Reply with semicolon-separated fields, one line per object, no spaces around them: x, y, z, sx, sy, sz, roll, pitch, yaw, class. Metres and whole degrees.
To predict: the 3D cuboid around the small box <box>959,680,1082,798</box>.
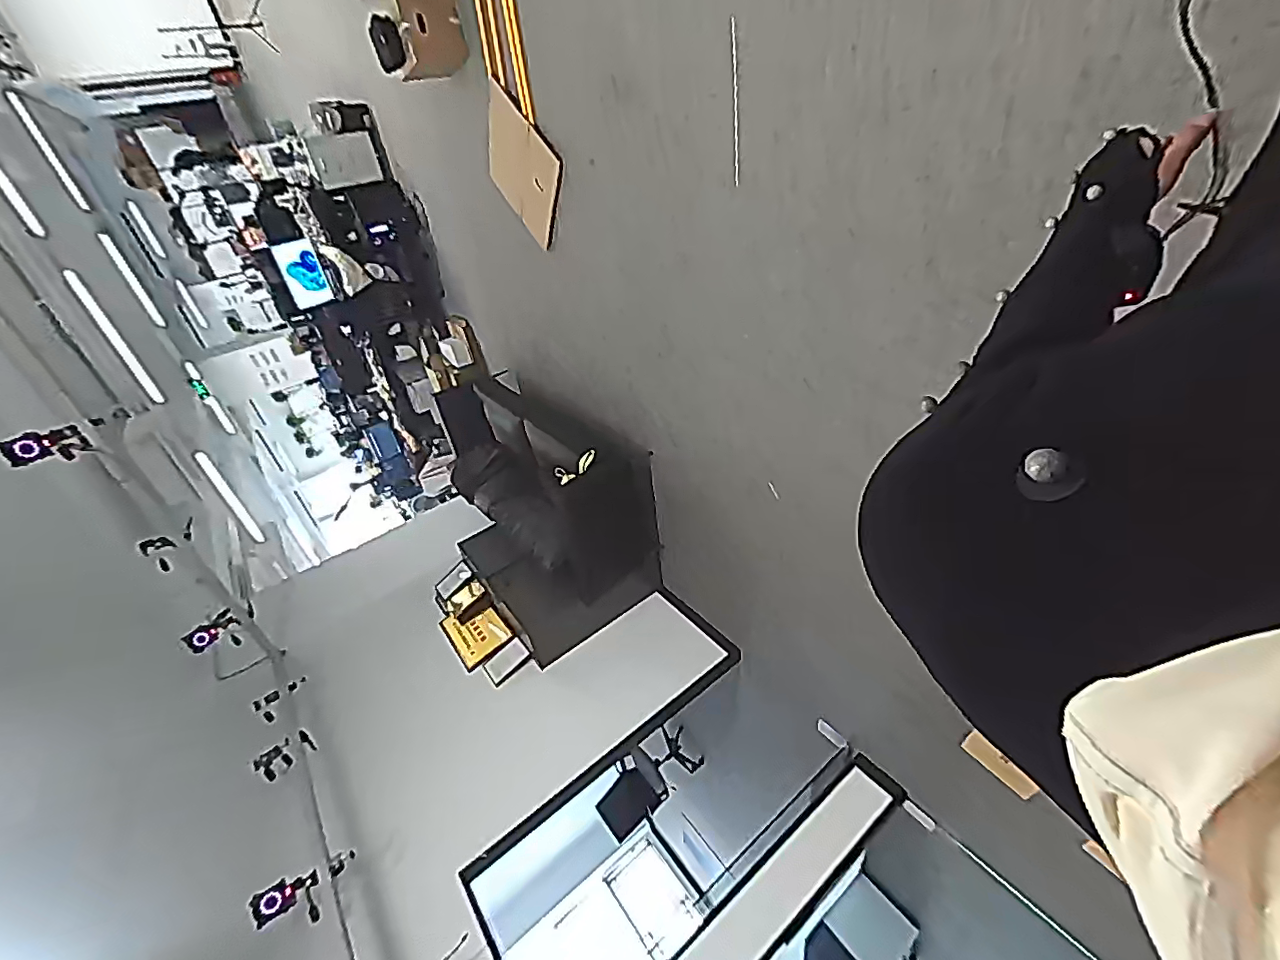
0.937;0.631;1.330;0.168;0.176;0.179;42;150;37;small box

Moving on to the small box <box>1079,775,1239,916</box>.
1.111;0.779;1.160;0.168;0.176;0.179;42;148;37;small box

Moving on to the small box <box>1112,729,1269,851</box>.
1.244;0.709;1.224;0.179;0.176;0.168;41;148;35;small box
